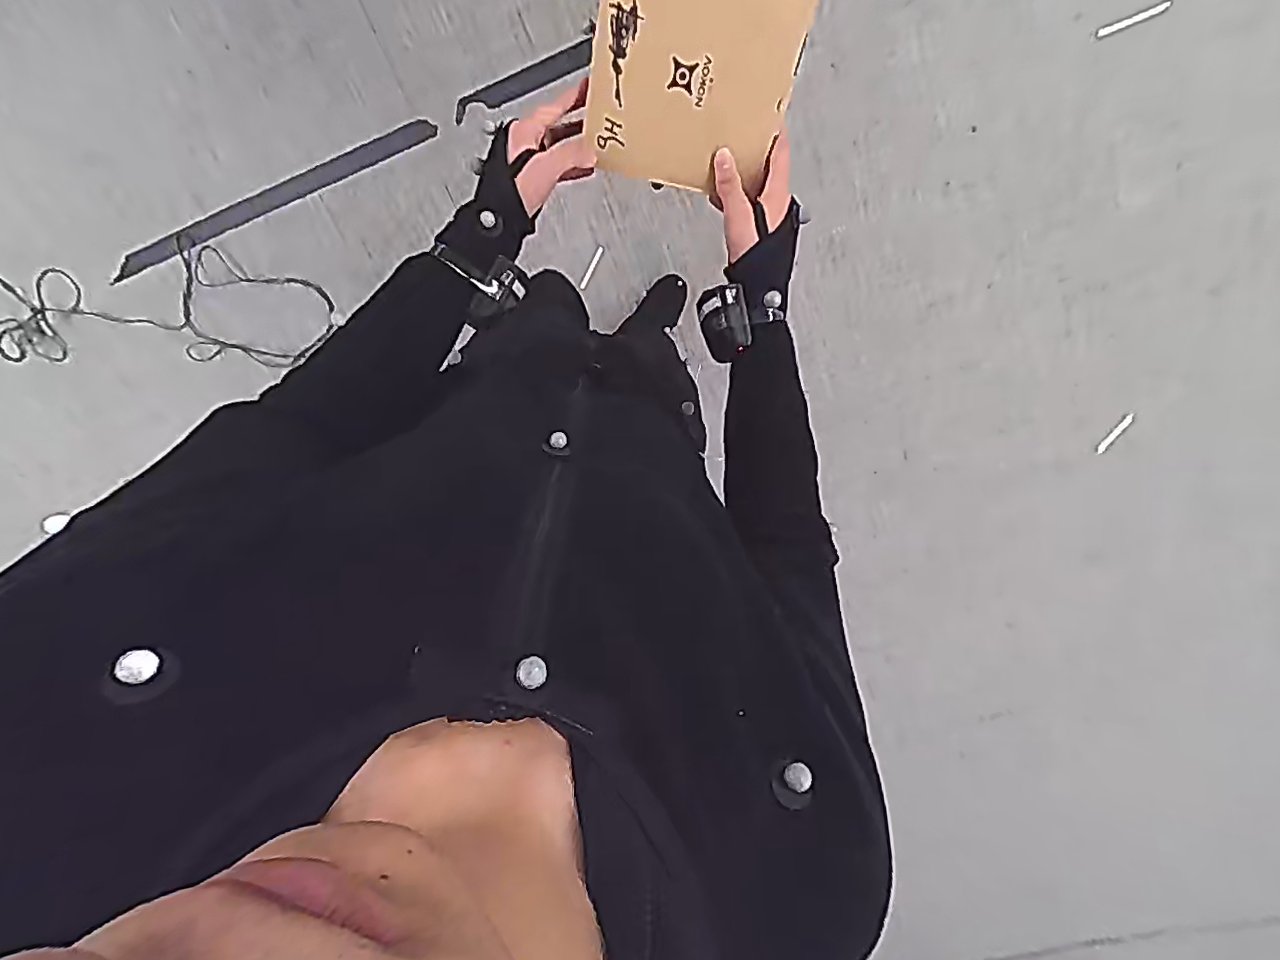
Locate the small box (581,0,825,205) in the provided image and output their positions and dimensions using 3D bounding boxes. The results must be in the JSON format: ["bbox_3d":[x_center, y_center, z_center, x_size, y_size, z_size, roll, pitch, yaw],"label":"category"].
[{"bbox_3d":[0.044,-0.388,0.525,0.179,0.176,0.168,9,124,-9],"label":"small box"}]
